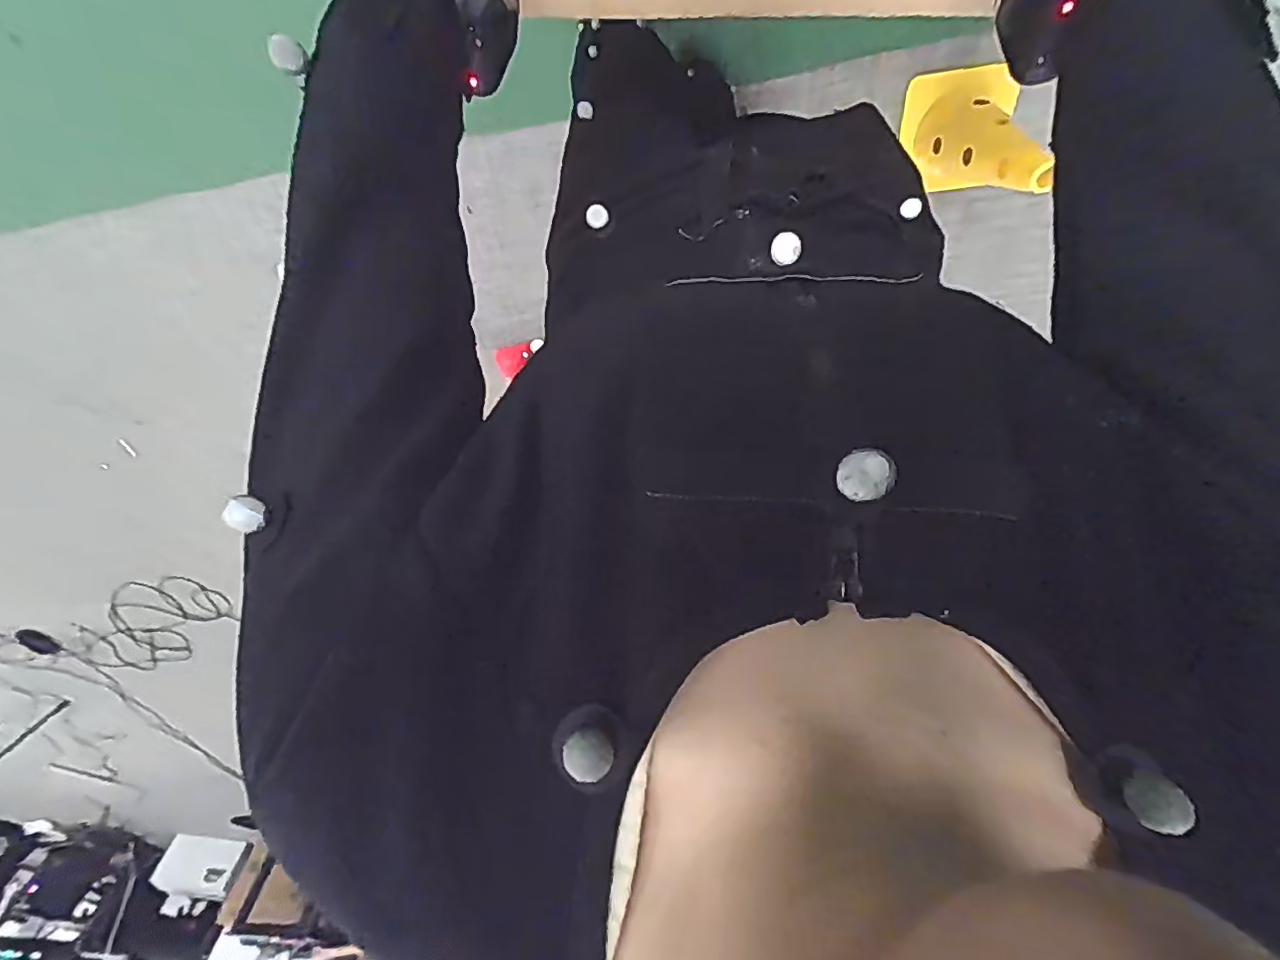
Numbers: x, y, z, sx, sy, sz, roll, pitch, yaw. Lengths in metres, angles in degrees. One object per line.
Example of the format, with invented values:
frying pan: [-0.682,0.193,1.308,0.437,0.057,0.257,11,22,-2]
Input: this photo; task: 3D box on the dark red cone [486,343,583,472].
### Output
dark red cone: [-0.277,-0.148,1.263,0.202,0.394,0.201,-11,126,14]

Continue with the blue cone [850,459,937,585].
blue cone: [0.706,0.126,1.455,0.192,0.380,0.193,-5,130,9]
